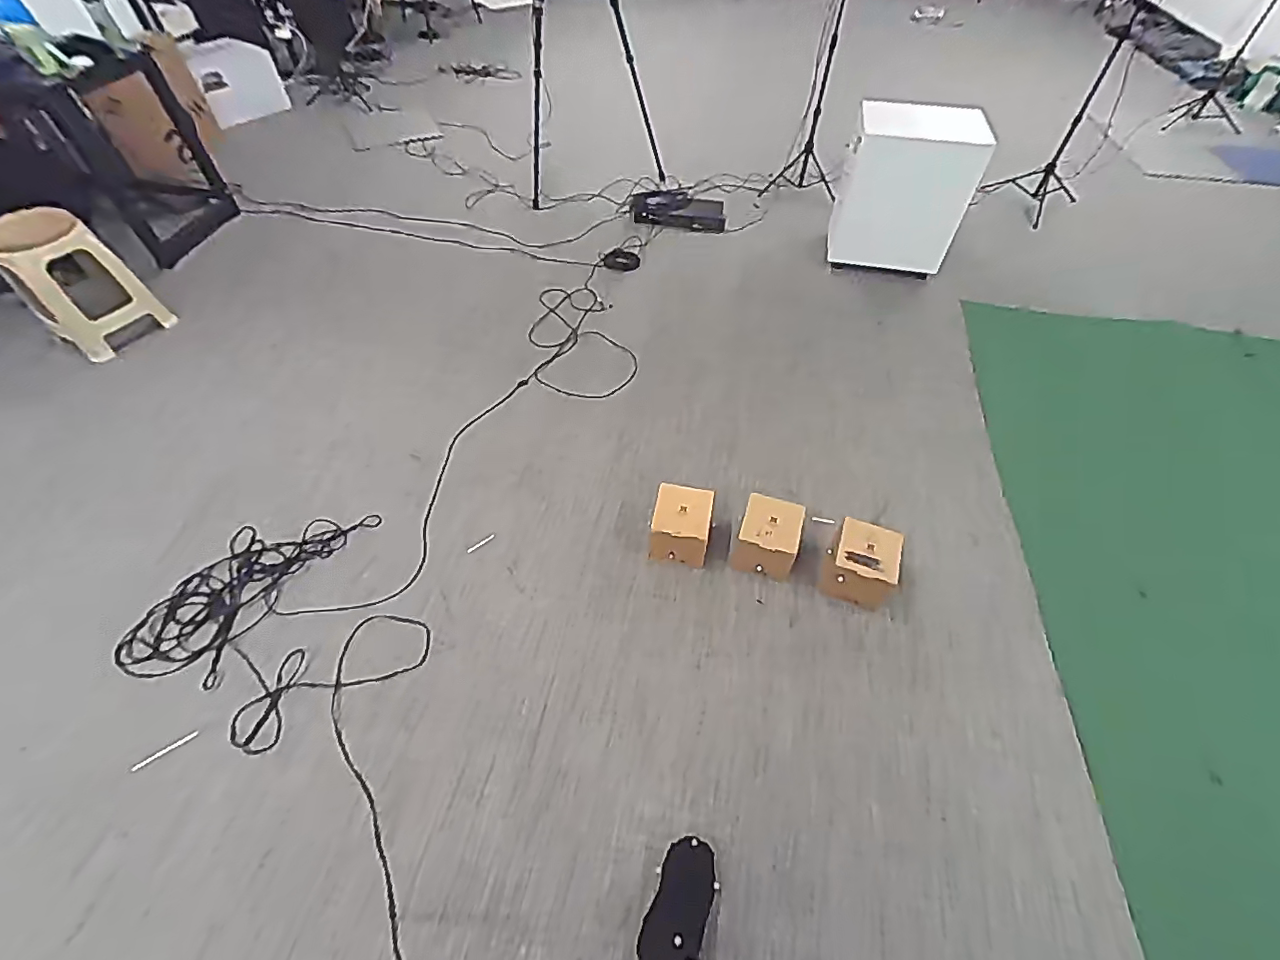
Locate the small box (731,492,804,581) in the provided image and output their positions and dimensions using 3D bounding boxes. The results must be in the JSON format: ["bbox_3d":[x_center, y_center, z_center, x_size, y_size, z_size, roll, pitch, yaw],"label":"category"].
[{"bbox_3d":[0.376,0.170,1.612,0.168,0.176,0.179,15,54,12],"label":"small box"}]

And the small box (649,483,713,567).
[{"bbox_3d":[0.122,0.137,1.638,0.168,0.176,0.179,9,53,7],"label":"small box"}]
